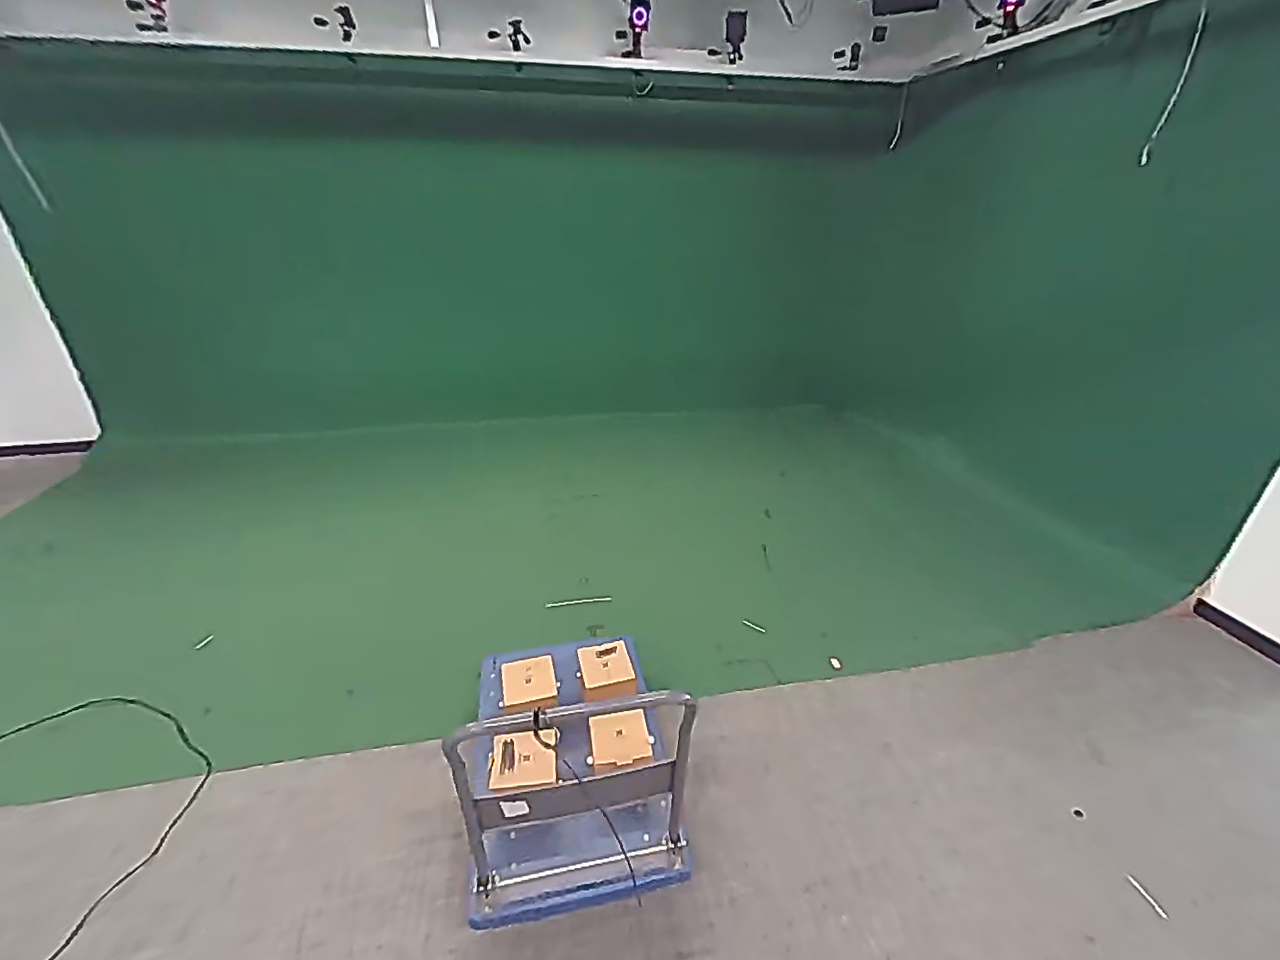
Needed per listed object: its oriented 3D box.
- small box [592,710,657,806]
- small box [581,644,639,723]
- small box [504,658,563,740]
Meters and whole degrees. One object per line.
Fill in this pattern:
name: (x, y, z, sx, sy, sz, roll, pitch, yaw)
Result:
small box: (-0.050, 0.807, 1.577, 0.168, 0.176, 0.179, -5, 29, -9)
small box: (-0.104, 0.685, 1.812, 0.168, 0.176, 0.179, -8, 29, -13)
small box: (-0.346, 0.716, 1.752, 0.168, 0.176, 0.179, -6, 28, -14)
